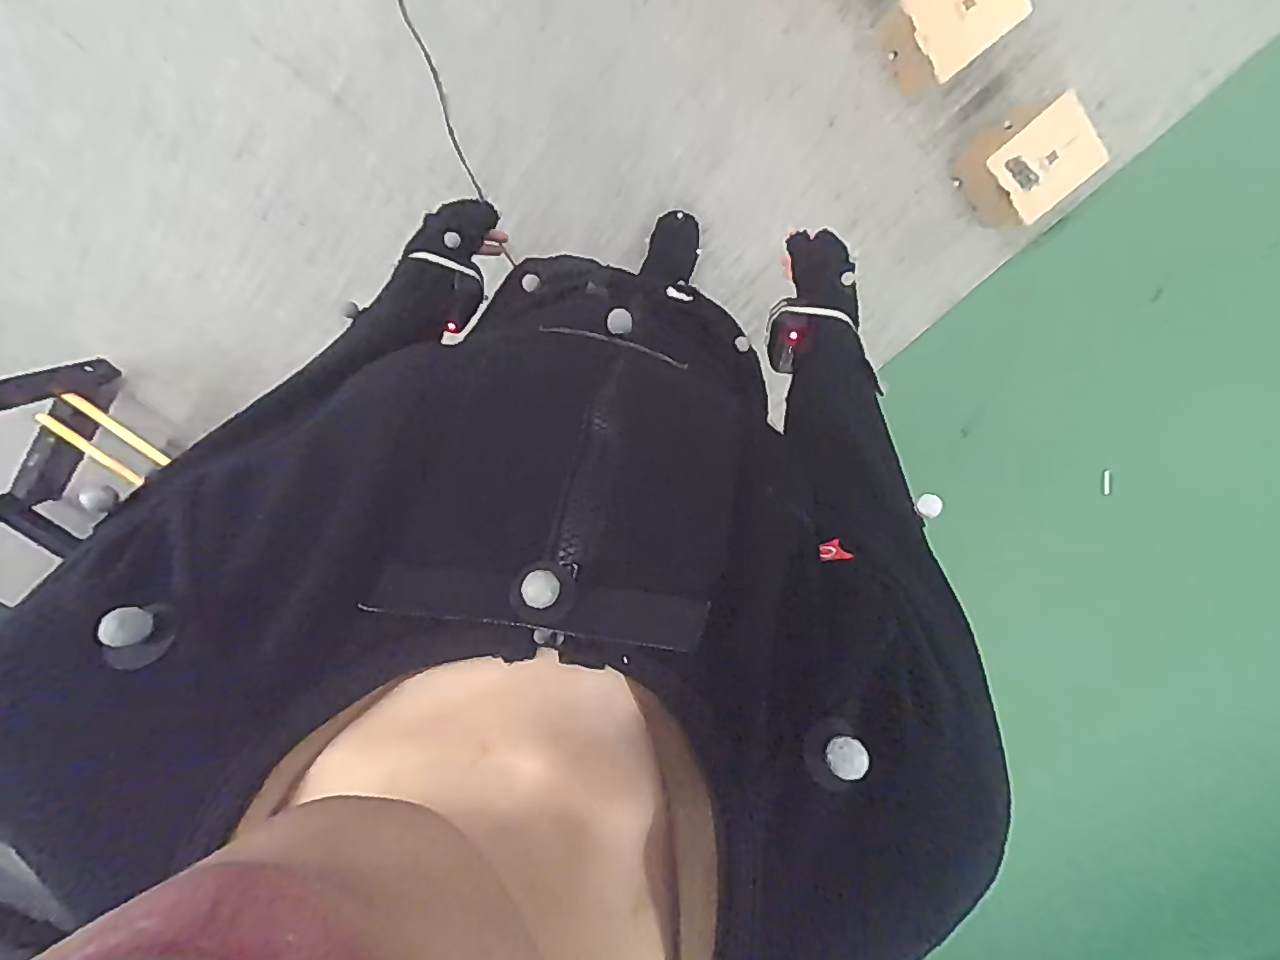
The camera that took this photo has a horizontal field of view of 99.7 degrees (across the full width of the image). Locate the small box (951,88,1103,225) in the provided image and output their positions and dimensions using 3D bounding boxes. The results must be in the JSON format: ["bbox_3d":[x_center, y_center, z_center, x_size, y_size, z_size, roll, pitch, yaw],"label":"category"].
[{"bbox_3d":[0.788,-0.658,1.129,0.179,0.176,0.168,-40,107,18],"label":"small box"}]

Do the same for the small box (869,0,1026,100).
[{"bbox_3d":[0.578,-0.880,1.037,0.179,0.176,0.168,-35,109,17],"label":"small box"}]
